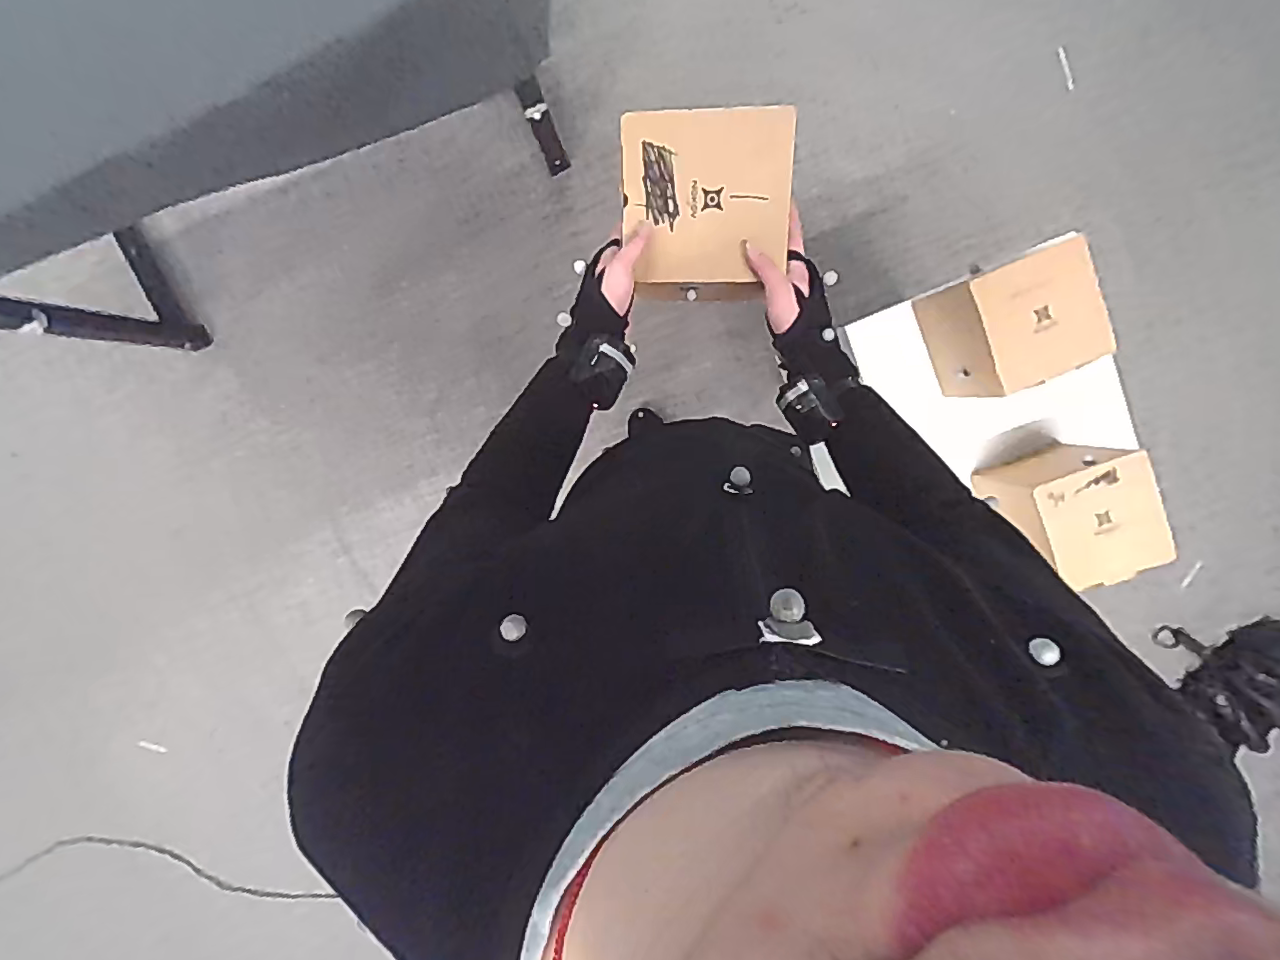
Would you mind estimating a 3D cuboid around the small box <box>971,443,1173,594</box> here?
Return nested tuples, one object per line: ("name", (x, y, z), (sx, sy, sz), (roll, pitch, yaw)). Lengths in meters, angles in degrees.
("small box", (0.677, 0.052, 0.866), (0.168, 0.176, 0.179), (-22, 97, 2))

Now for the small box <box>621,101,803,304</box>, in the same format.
("small box", (0.075, -0.295, 0.611), (0.179, 0.176, 0.168), (1, 101, 4))

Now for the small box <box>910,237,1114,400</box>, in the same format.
("small box", (0.555, -0.234, 0.829), (0.168, 0.176, 0.179), (-25, 97, 1))
